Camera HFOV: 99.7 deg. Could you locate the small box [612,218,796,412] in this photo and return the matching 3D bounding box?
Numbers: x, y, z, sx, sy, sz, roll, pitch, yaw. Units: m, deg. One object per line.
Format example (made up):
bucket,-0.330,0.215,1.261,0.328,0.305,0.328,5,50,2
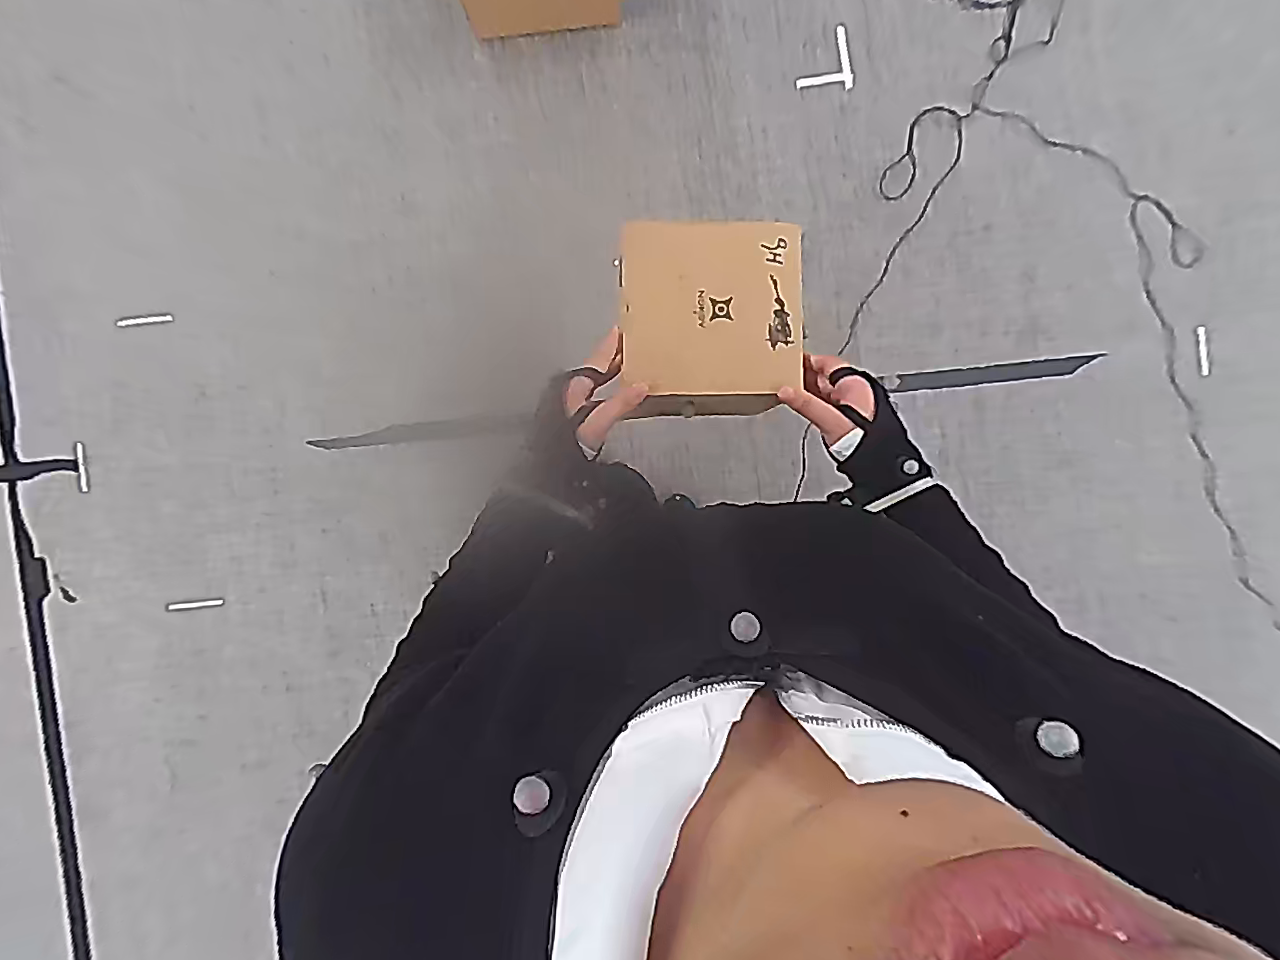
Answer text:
small box,0.060,-0.167,0.595,0.179,0.176,0.168,-1,90,-2
